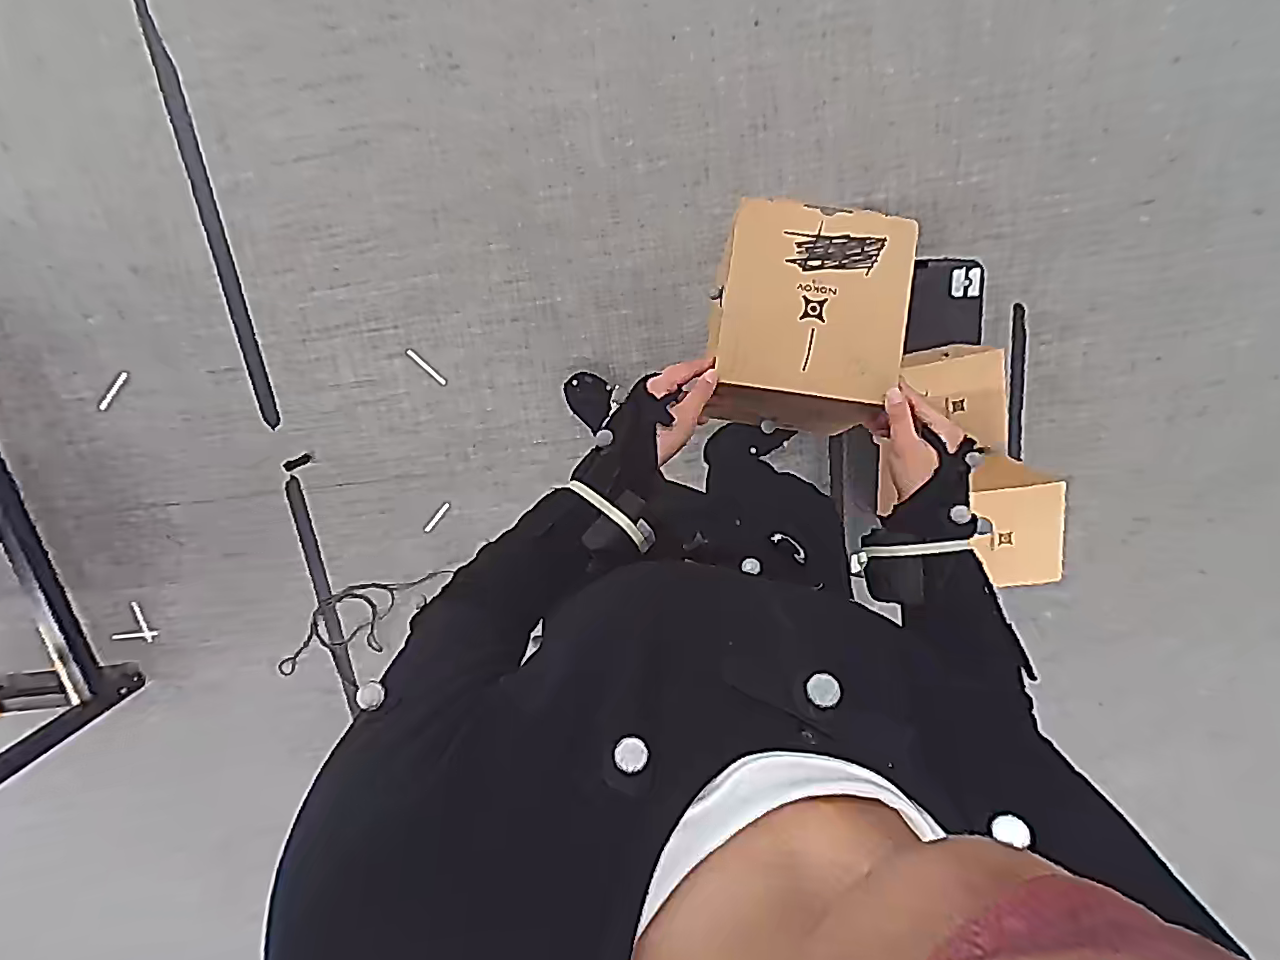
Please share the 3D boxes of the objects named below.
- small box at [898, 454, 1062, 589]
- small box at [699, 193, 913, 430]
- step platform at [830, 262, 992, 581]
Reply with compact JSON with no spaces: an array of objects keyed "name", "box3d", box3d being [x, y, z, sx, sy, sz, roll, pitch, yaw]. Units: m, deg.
[{"name":"small box","box3d":[0.554,0.061,0.902,0.179,0.176,0.168,-8,106,7]},{"name":"small box","box3d":[0.158,-0.161,0.568,0.168,0.176,0.179,9,86,2]},{"name":"step platform","box3d":[0.582,-0.115,1.200,0.286,0.204,0.684,-6,105,6]}]
